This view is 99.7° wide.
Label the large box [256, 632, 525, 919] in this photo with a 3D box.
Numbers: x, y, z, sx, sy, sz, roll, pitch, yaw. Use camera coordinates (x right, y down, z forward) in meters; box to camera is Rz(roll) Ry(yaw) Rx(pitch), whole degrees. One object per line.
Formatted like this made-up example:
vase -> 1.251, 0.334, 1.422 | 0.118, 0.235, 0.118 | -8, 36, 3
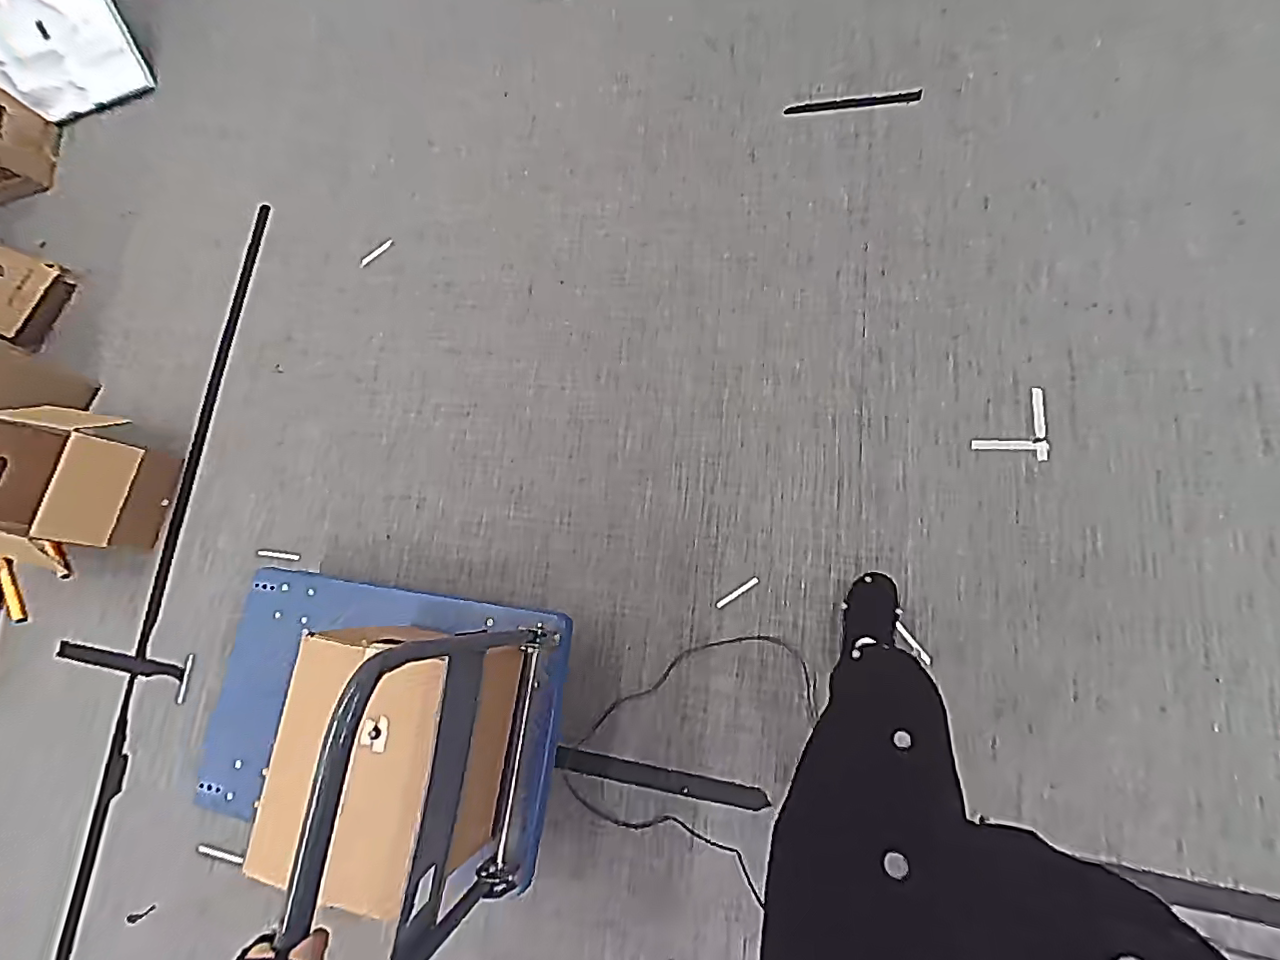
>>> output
large box -> -0.459, 0.533, 1.076 | 0.320, 0.320, 0.408 | 6, 77, 13
